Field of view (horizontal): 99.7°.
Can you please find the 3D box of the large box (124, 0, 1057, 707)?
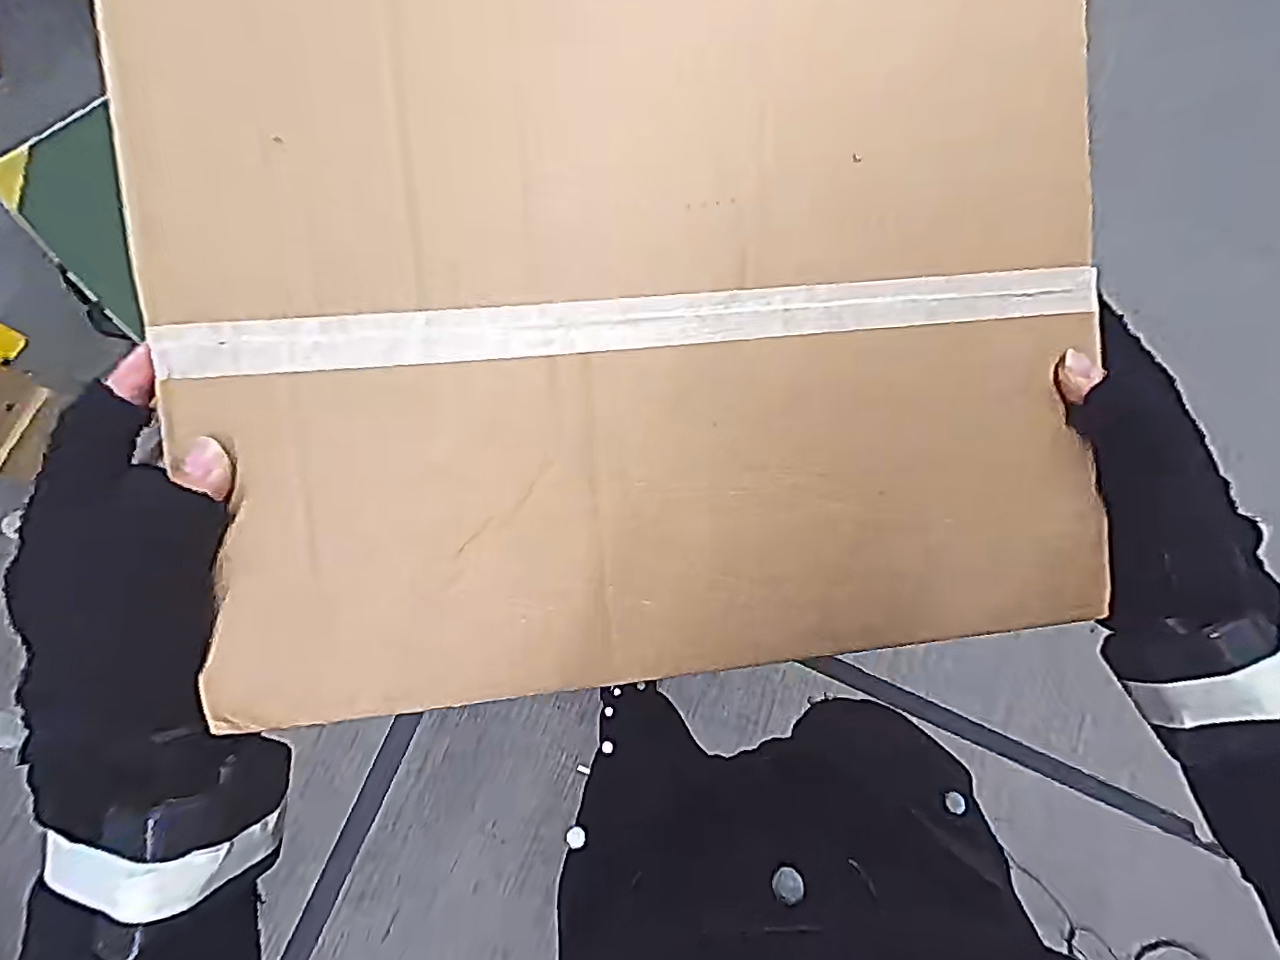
[{"bbox_3d":[-0.010,-0.084,0.393,0.408,0.320,0.320,-6,94,-6],"label":"large box"}]
